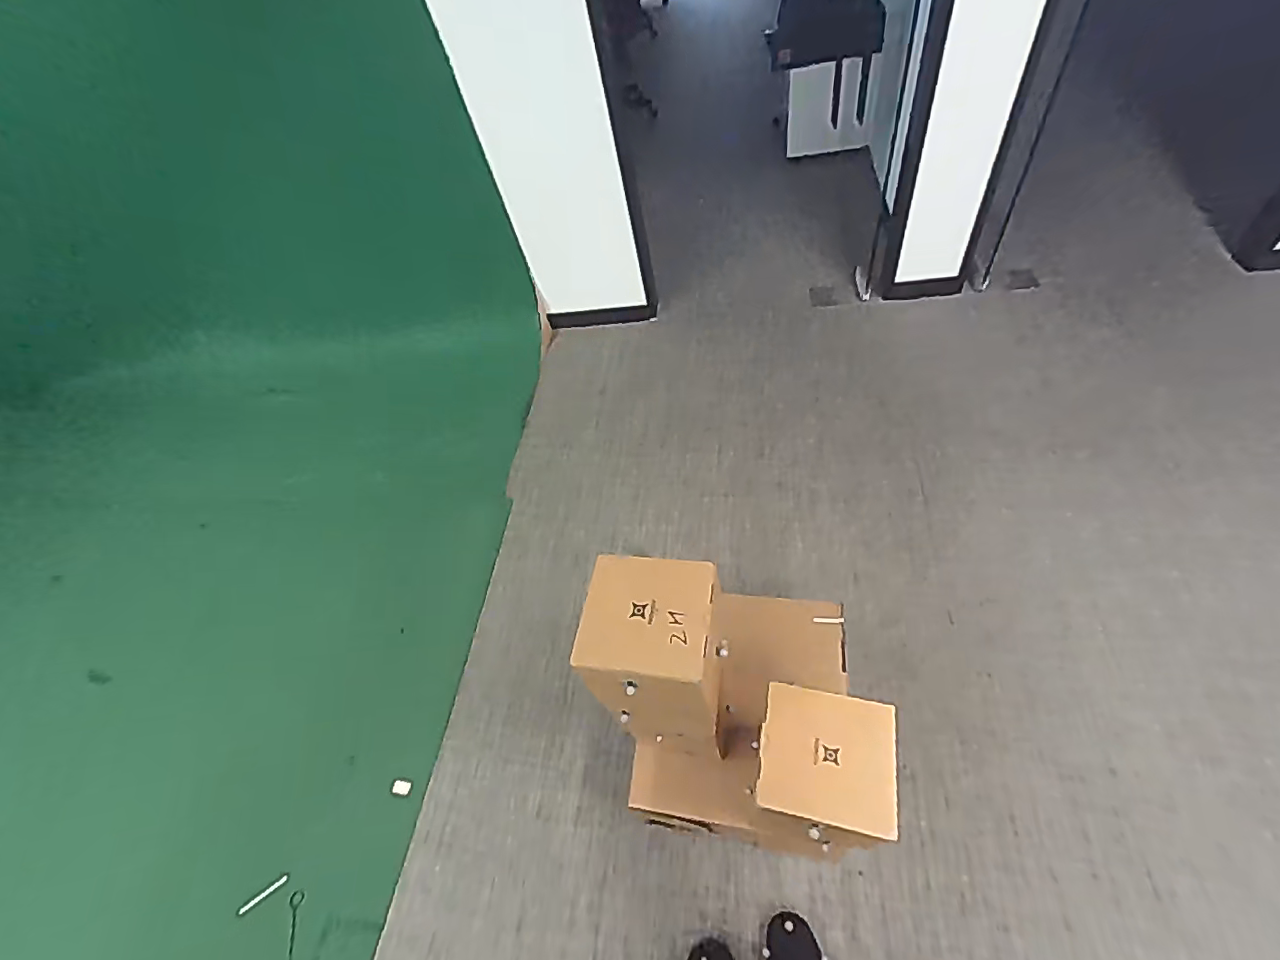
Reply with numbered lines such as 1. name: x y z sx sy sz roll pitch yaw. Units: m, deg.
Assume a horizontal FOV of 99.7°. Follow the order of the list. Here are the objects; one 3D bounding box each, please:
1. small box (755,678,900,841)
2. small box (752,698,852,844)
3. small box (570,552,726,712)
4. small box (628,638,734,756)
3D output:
1. small box: 0.267 0.411 0.792 0.179 0.176 0.168 6 55 16
2. small box: 0.287 0.501 0.926 0.168 0.176 0.179 6 54 15
3. small box: 0.024 0.221 0.779 0.179 0.176 0.168 2 54 16
4. small box: 0.089 0.408 1.044 0.168 0.176 0.179 4 53 17
